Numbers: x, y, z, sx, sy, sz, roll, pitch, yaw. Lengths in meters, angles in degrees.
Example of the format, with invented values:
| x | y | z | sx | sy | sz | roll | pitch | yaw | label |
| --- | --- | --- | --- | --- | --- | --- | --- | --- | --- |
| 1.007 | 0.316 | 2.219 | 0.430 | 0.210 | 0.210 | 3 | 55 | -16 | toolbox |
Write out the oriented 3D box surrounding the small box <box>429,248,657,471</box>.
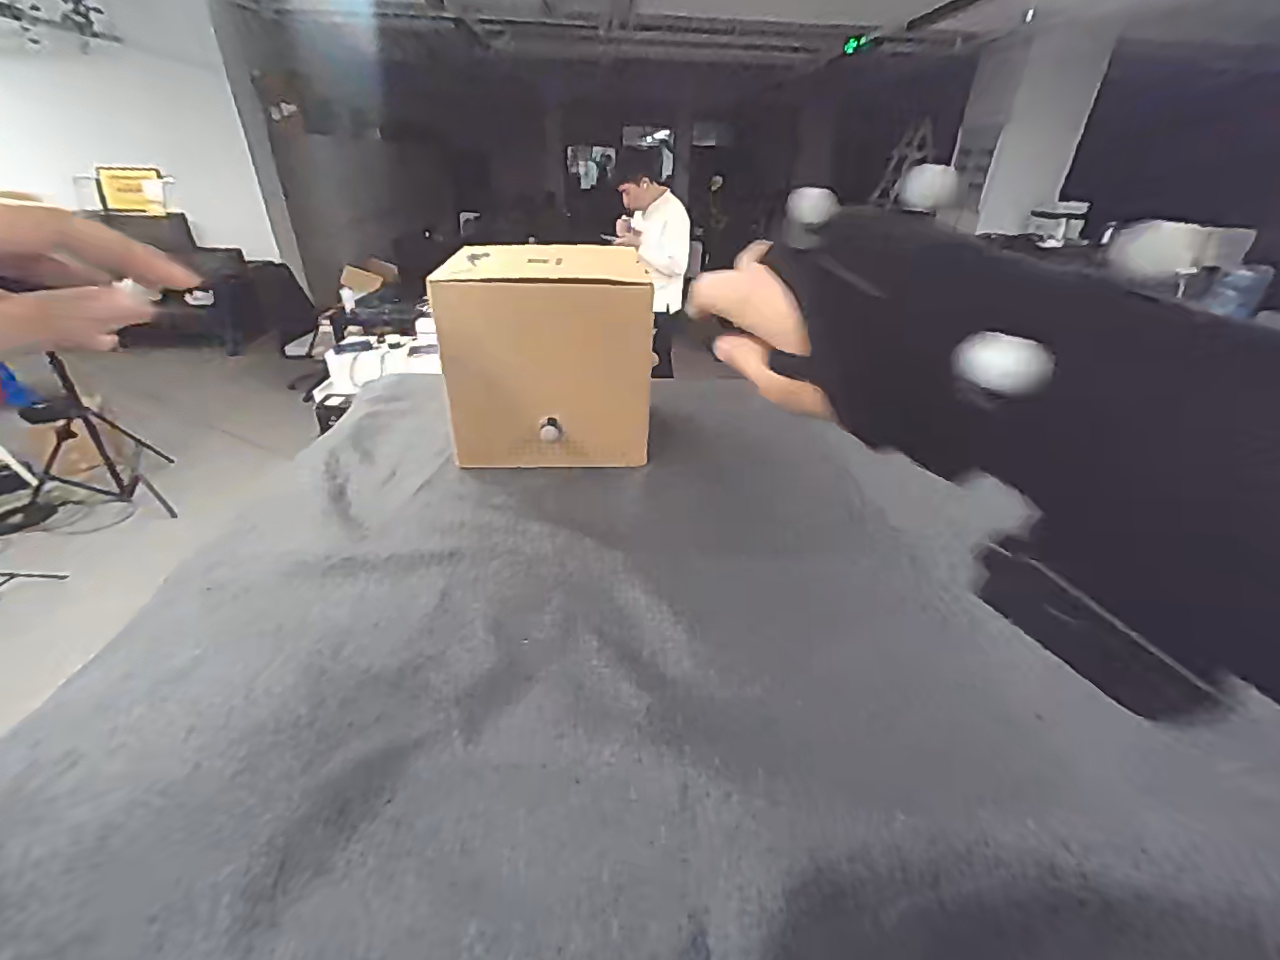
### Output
| x | y | z | sx | sy | sz | roll | pitch | yaw | label |
| --- | --- | --- | --- | --- | --- | --- | --- | --- | --- |
| -0.083 | -0.118 | 0.522 | 0.179 | 0.176 | 0.168 | 0 | 31 | -5 | small box |
